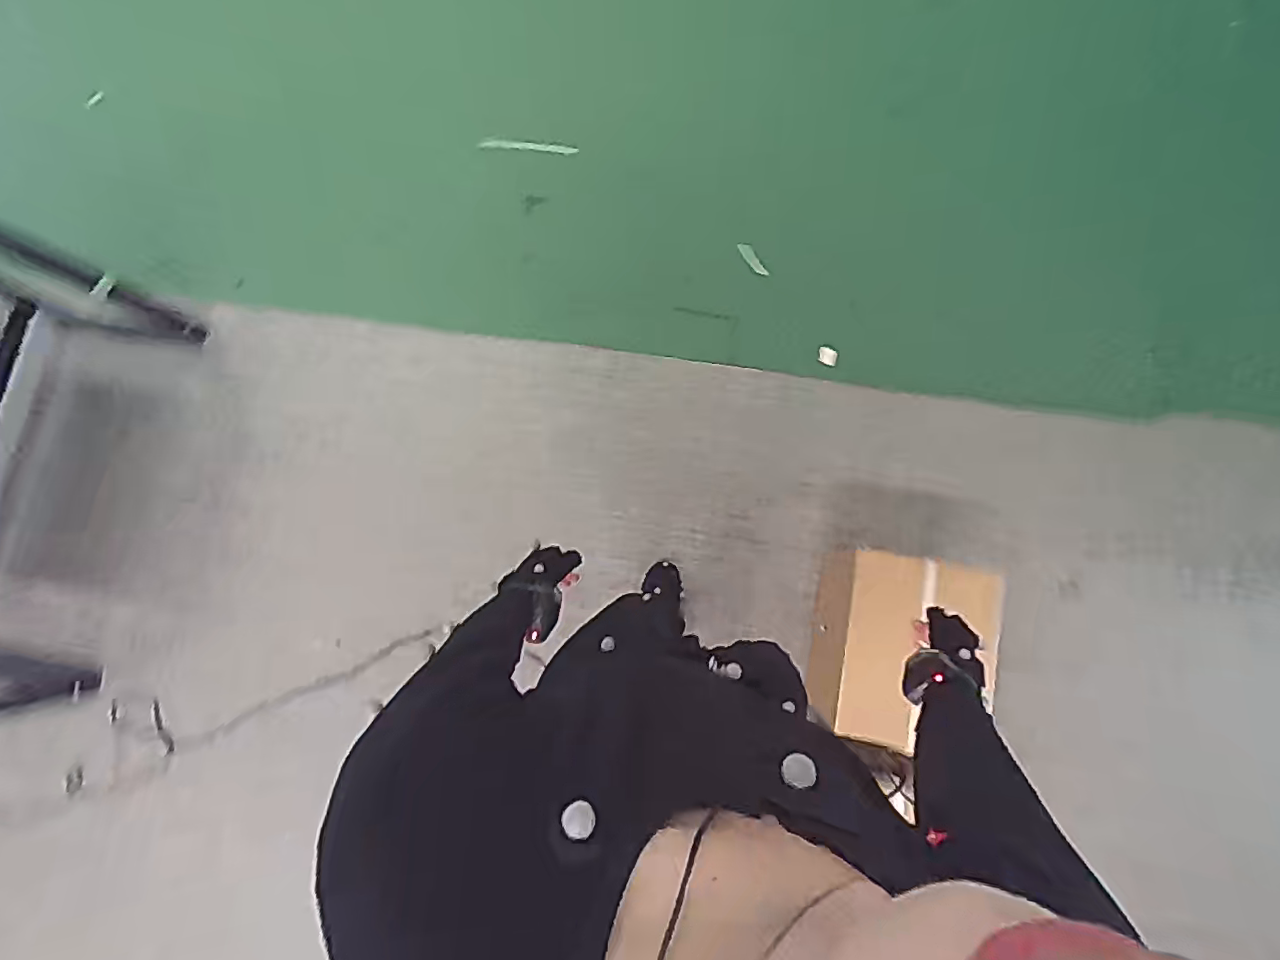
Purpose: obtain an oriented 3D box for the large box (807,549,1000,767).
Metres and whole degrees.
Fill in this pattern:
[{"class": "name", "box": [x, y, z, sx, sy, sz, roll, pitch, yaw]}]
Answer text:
[{"class": "large box", "box": [0.607, 0.400, 1.296, 0.320, 0.320, 0.408, 11, 80, 6]}]
